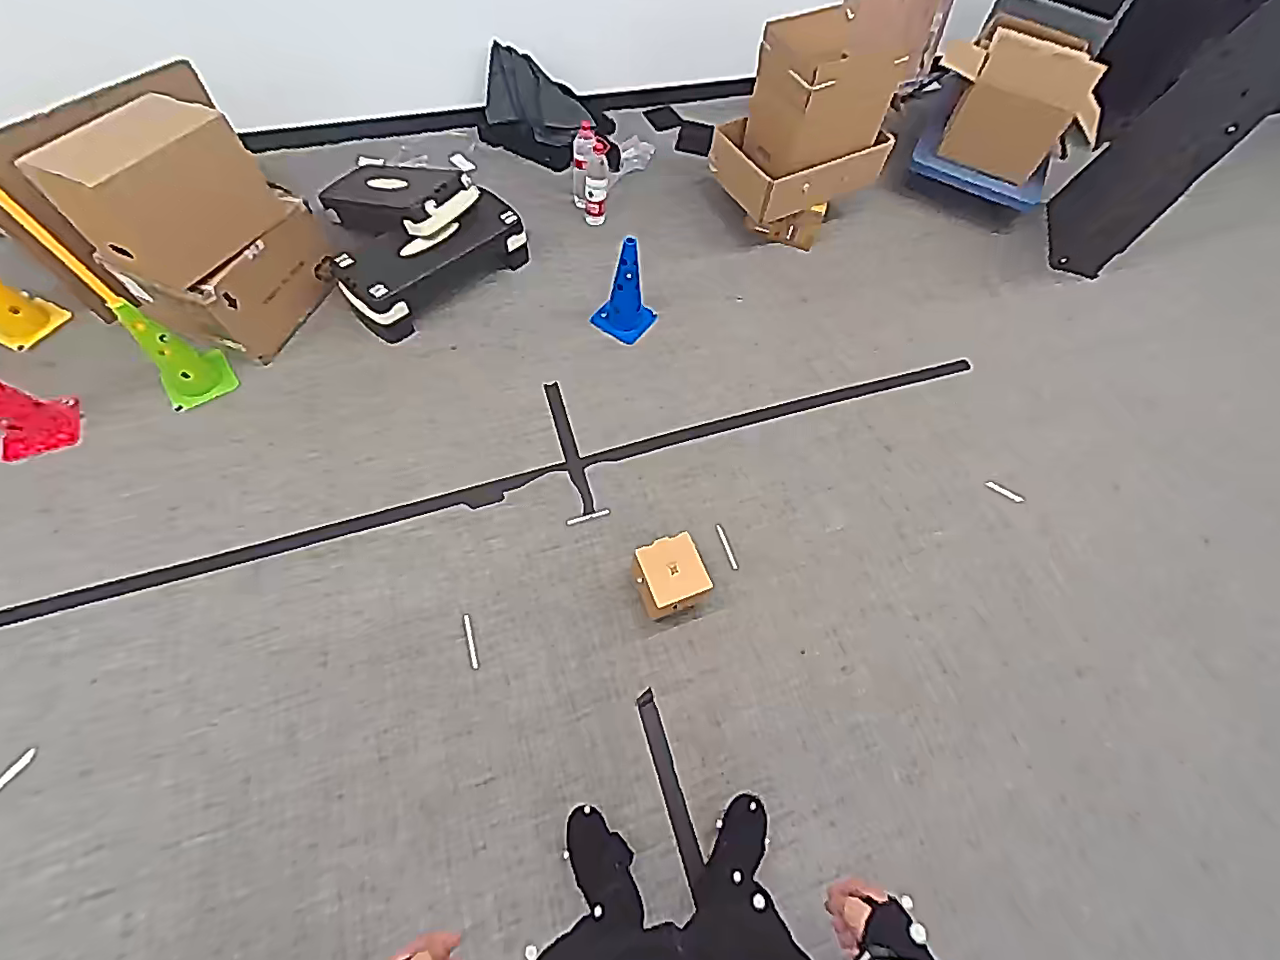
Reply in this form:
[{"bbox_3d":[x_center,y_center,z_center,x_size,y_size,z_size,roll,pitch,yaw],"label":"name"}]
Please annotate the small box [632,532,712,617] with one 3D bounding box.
[{"bbox_3d":[0.085,0.277,1.541,0.168,0.176,0.179,-18,65,-14],"label":"small box"}]
